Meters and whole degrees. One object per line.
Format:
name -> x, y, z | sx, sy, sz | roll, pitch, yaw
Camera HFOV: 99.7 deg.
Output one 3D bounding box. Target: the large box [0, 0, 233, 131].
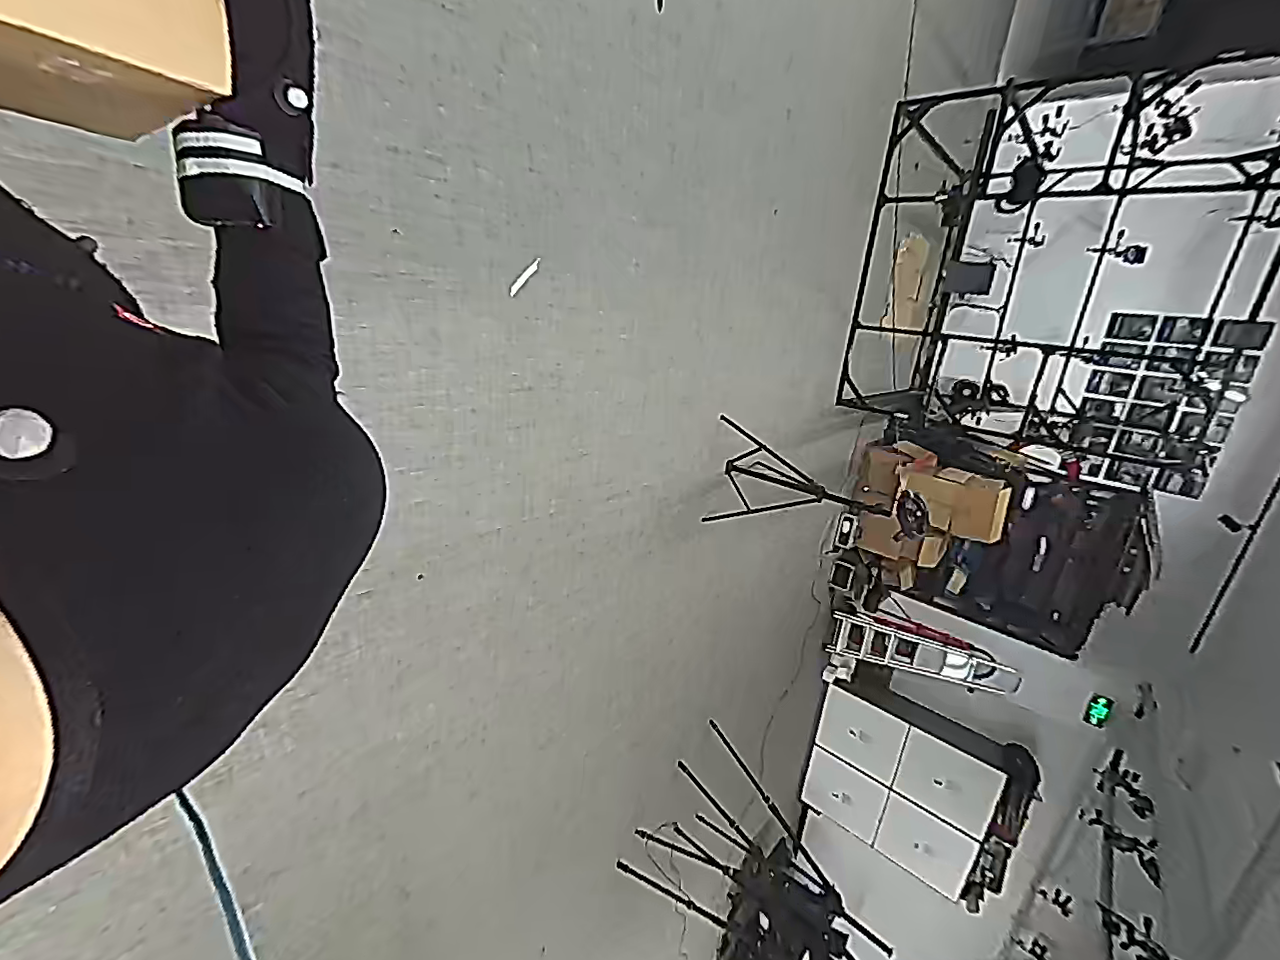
large box -> -0.508, -0.431, 0.273 | 0.408, 0.320, 0.320 | -12, 115, -50
